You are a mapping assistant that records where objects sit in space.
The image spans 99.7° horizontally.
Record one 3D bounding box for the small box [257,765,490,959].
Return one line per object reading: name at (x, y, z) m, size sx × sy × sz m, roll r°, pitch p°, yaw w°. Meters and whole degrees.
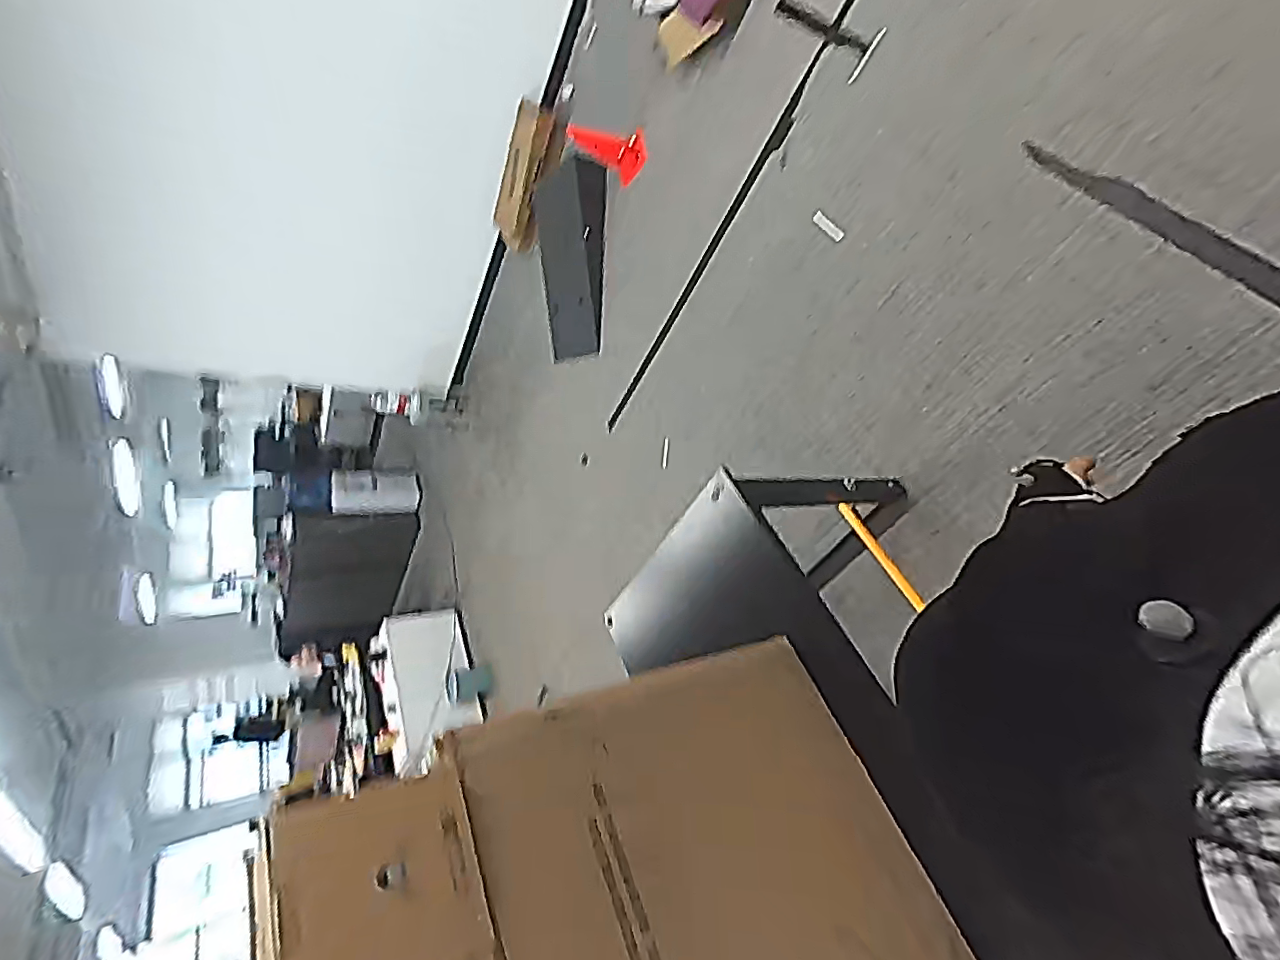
small box at (-0.264, 0.414, 0.535) m, size 0.179 × 0.176 × 0.168 m, roll -54°, pitch 51°, yaw 35°
